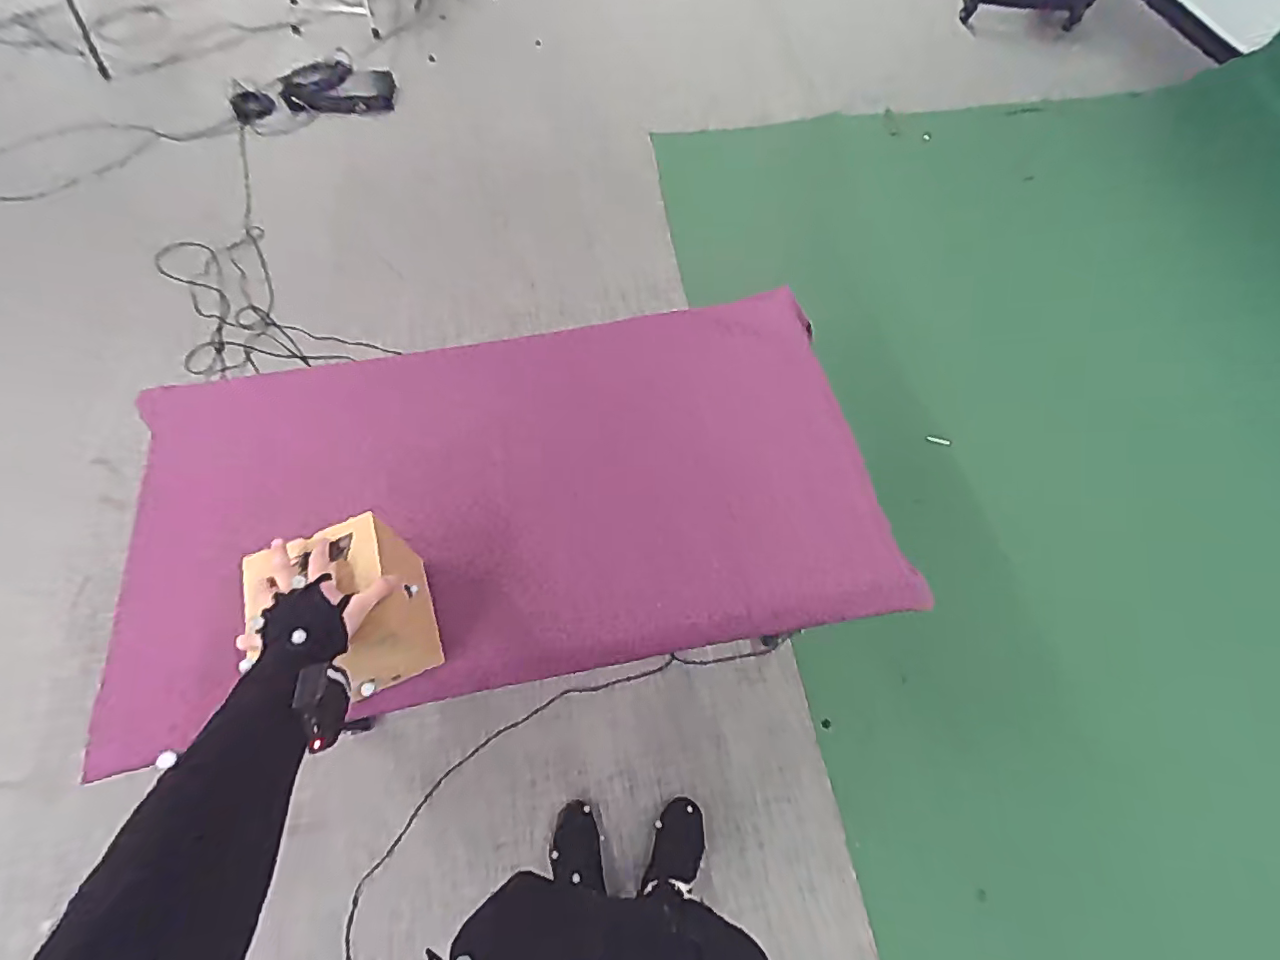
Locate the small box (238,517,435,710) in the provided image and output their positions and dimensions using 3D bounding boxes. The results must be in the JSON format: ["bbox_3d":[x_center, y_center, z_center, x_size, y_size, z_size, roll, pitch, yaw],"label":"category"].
[{"bbox_3d":[-0.398,0.184,0.725,0.168,0.176,0.179,-22,61,-9],"label":"small box"}]
